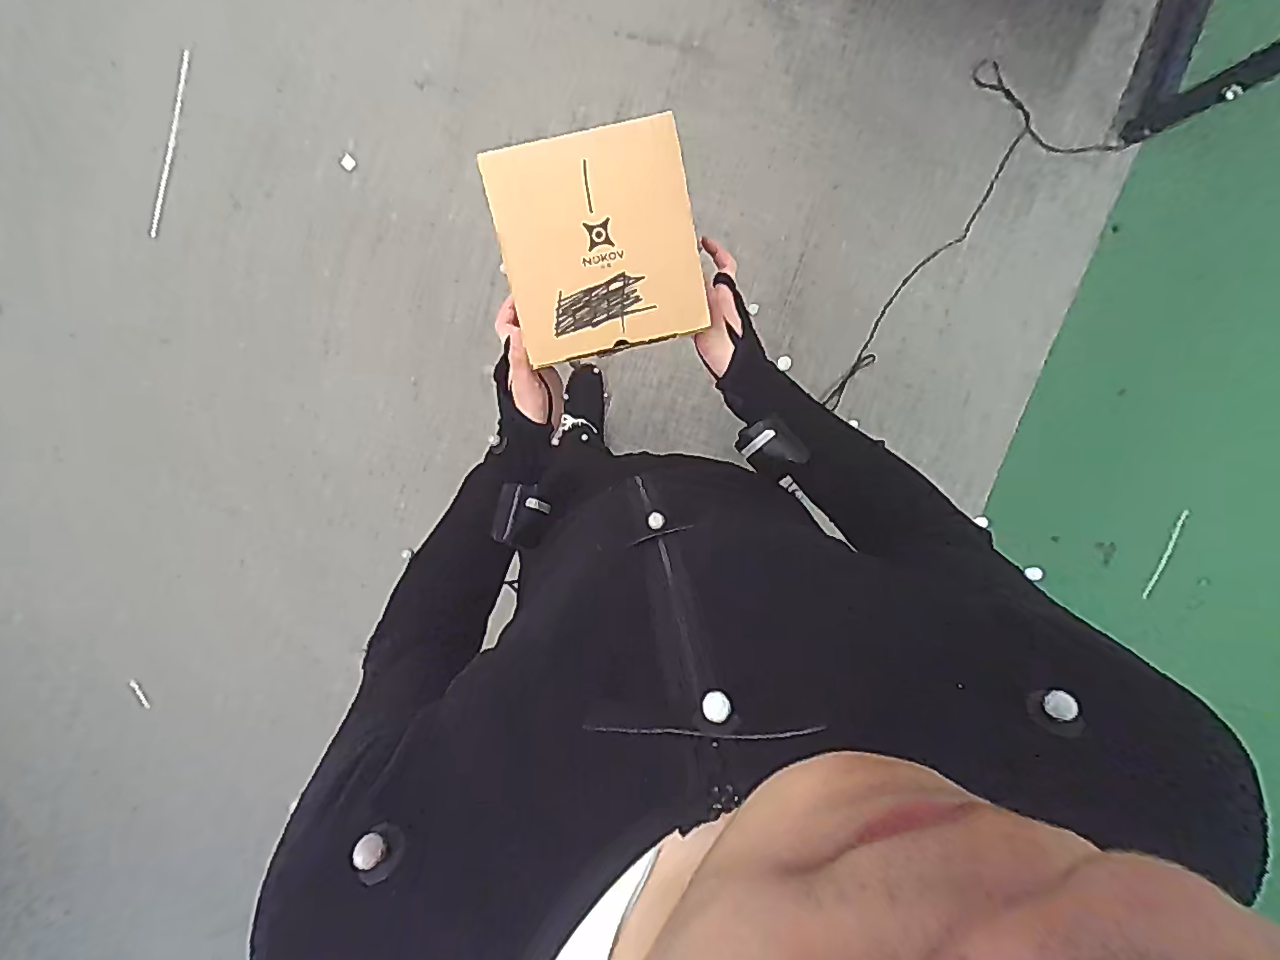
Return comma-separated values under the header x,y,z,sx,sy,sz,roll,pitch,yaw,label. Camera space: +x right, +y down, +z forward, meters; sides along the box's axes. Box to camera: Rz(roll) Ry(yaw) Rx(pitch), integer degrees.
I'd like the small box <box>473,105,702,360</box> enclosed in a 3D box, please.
x,y,z,sx,sy,sz,roll,pitch,yaw,label
-0.042,-0.225,0.532,0.168,0.176,0.179,-12,106,0,small box
